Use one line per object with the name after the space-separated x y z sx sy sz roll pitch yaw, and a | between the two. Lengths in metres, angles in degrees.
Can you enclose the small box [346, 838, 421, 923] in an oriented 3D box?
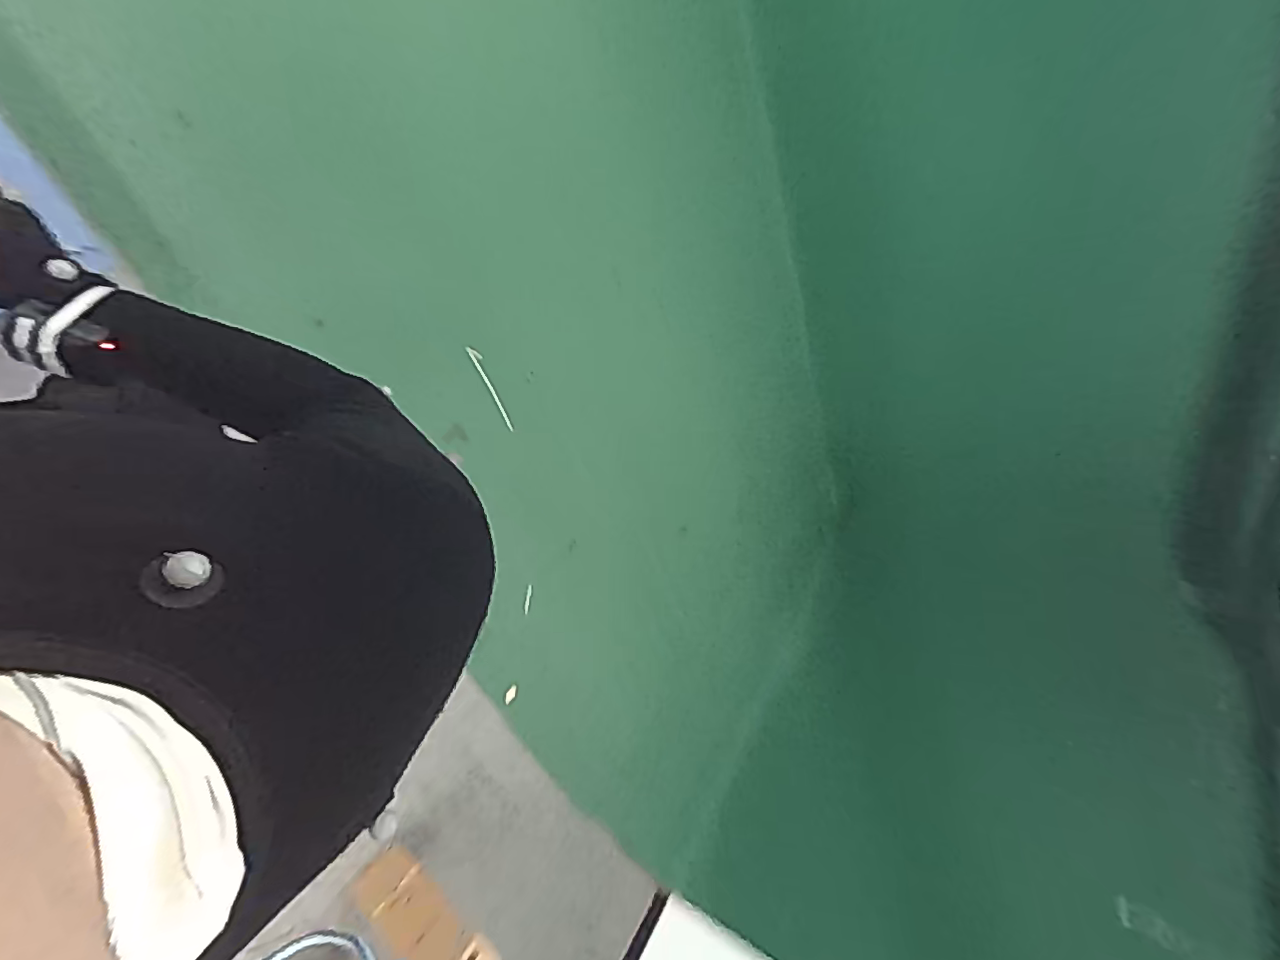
-0.793 1.282 1.717 0.168 0.176 0.179 -43 127 -38 | small box
